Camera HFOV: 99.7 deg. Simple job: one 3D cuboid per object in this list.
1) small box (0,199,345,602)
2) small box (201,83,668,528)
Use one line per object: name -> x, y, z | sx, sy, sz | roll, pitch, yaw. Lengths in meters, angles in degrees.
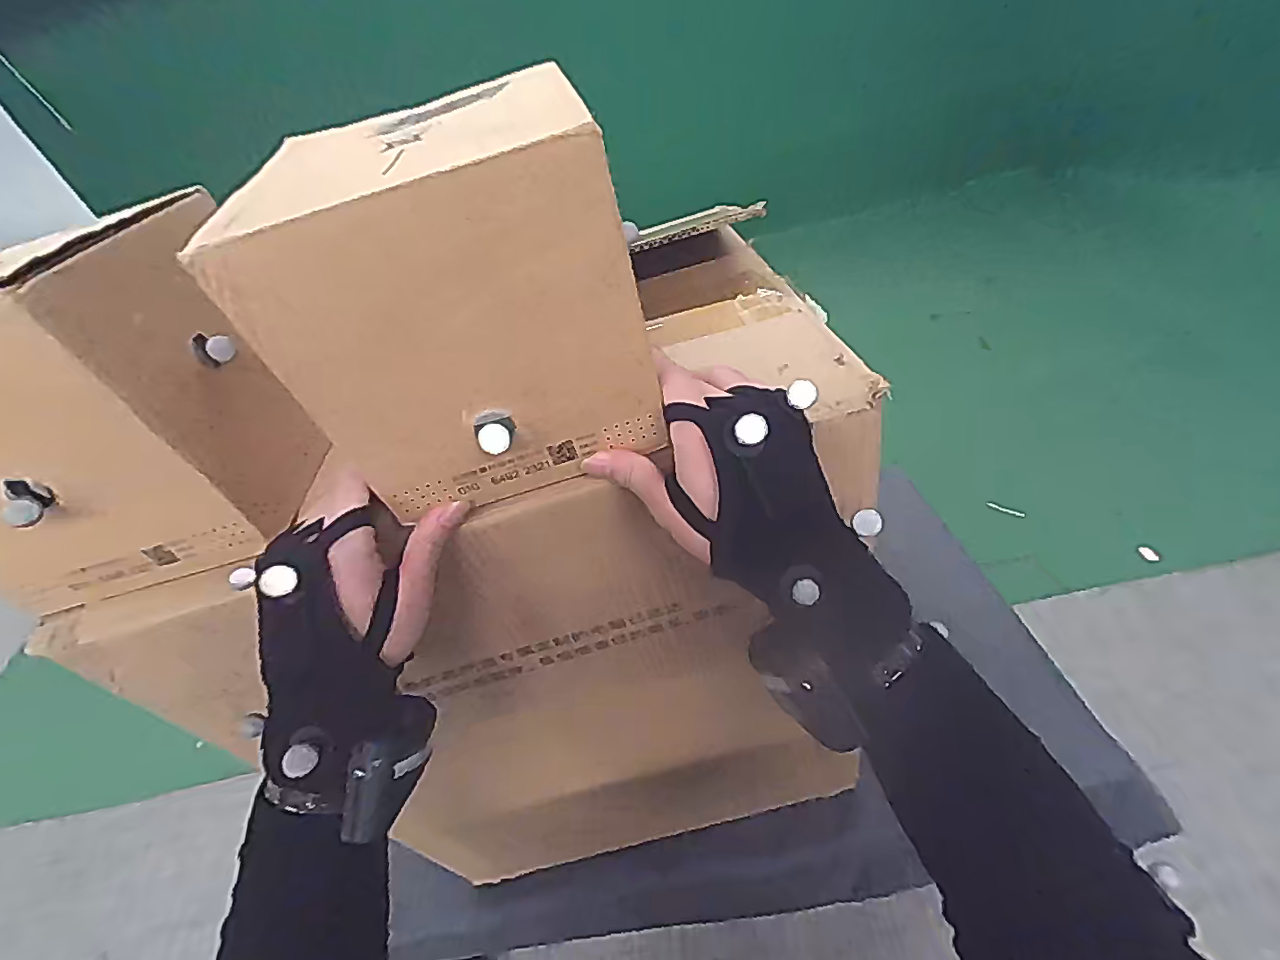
small box -> -0.320, -0.044, 0.340 | 0.168, 0.176, 0.179 | -16, 41, 3
small box -> -0.090, -0.102, 0.321 | 0.168, 0.176, 0.179 | -17, 46, 0
